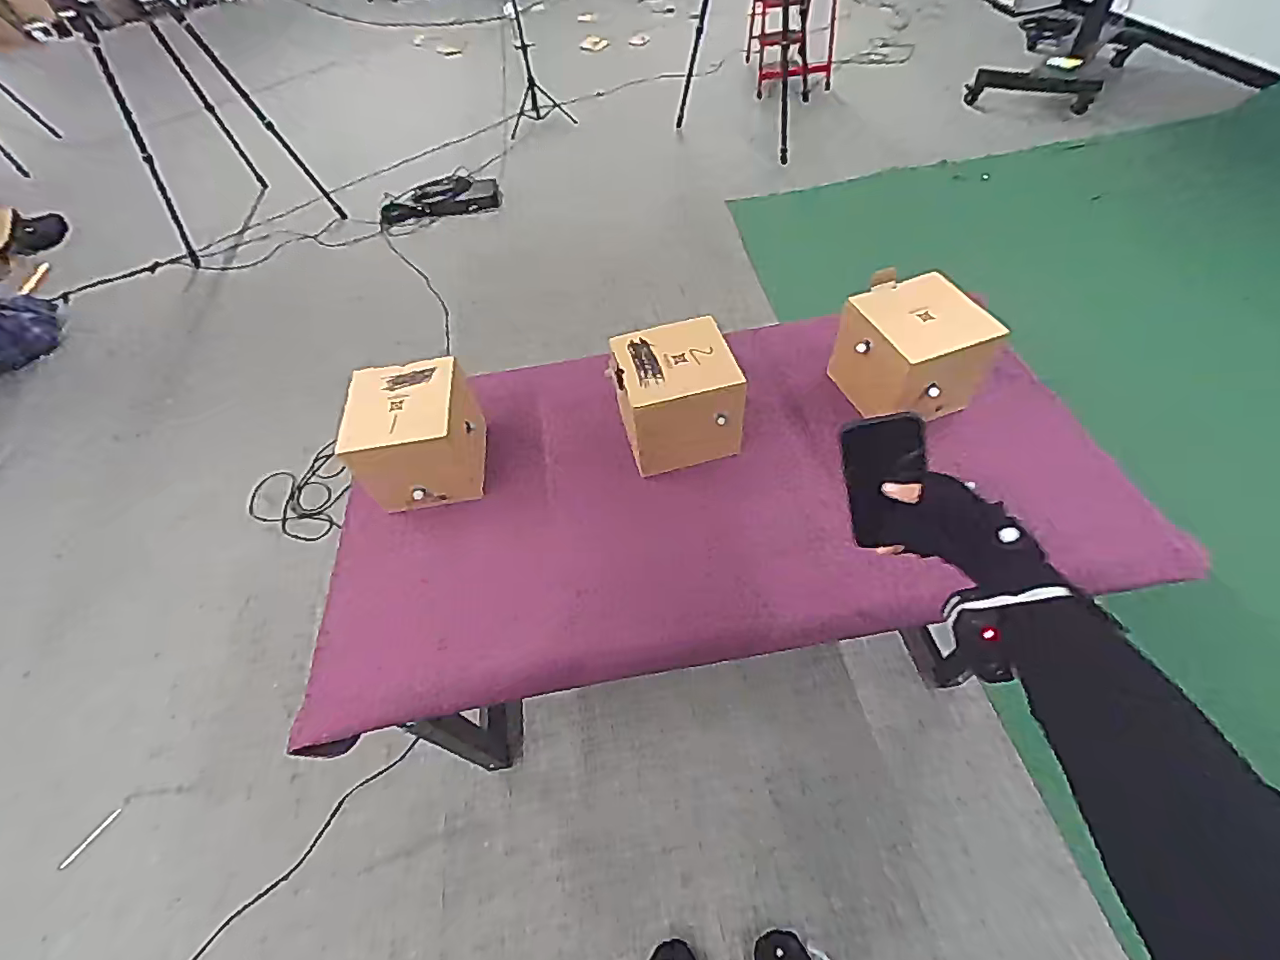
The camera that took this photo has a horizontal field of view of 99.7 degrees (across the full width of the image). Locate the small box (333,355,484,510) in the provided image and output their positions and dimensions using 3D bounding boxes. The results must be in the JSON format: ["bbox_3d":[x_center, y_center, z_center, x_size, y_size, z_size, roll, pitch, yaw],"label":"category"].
[{"bbox_3d":[-0.362,-0.074,0.884,0.168,0.176,0.179,-9,55,0],"label":"small box"}]

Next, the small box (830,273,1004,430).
[{"bbox_3d":[0.441,-0.204,0.896,0.168,0.176,0.179,-19,54,-7],"label":"small box"}]
